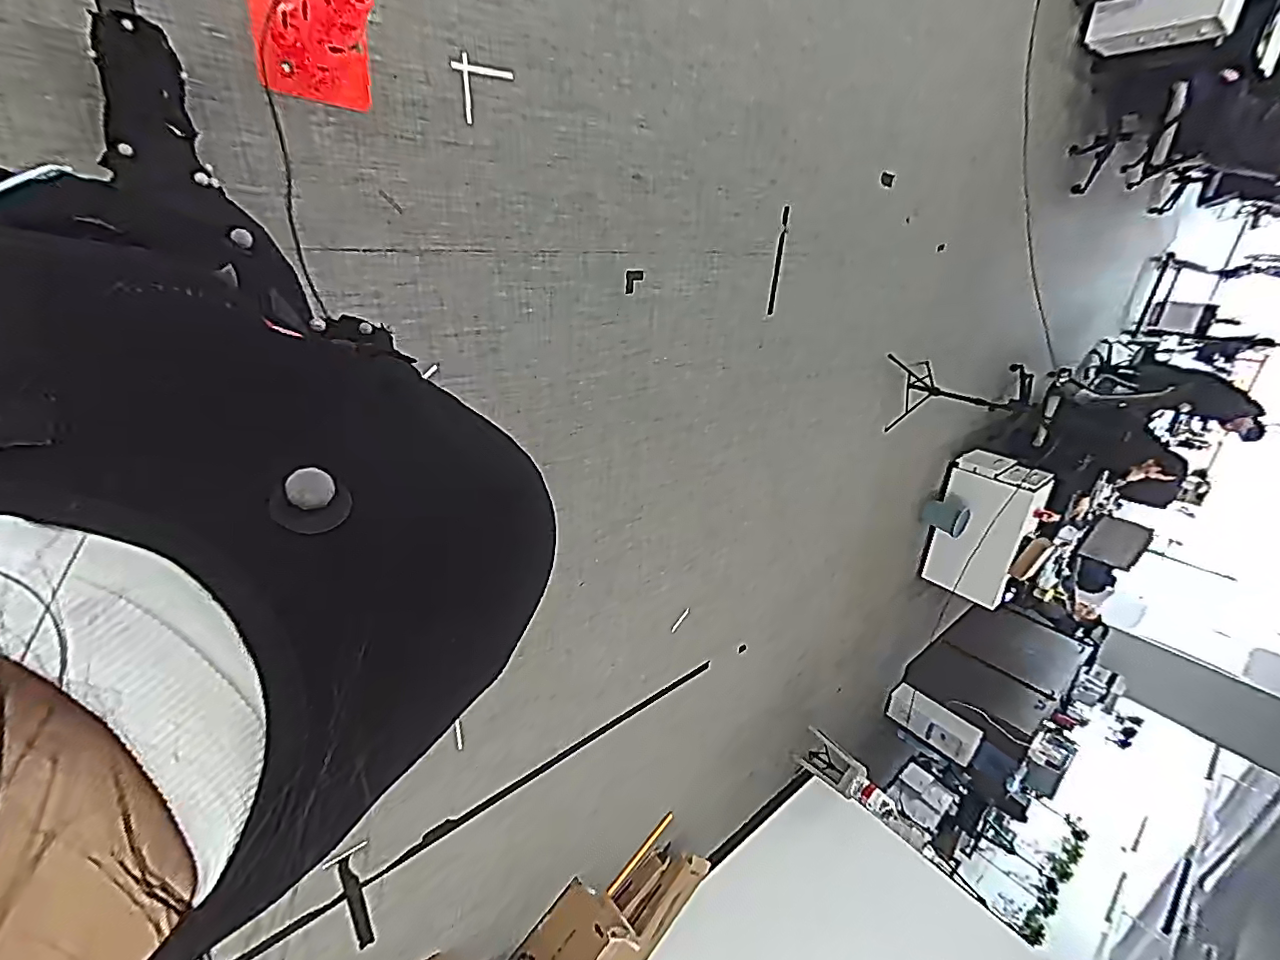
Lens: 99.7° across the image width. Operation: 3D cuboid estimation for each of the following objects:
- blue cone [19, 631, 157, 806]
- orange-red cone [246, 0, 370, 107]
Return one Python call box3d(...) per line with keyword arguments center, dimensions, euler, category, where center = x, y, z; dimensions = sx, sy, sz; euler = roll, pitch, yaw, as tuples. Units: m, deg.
box3d(center=(-1.092, 0.483, 1.067), dimensions=(0.192, 0.380, 0.193), euler=(-11, 117, -38), category="blue cone")
box3d(center=(-0.532, -0.792, 0.925), dimensions=(0.199, 0.360, 0.198), euler=(-12, 119, -40), category="orange-red cone")
